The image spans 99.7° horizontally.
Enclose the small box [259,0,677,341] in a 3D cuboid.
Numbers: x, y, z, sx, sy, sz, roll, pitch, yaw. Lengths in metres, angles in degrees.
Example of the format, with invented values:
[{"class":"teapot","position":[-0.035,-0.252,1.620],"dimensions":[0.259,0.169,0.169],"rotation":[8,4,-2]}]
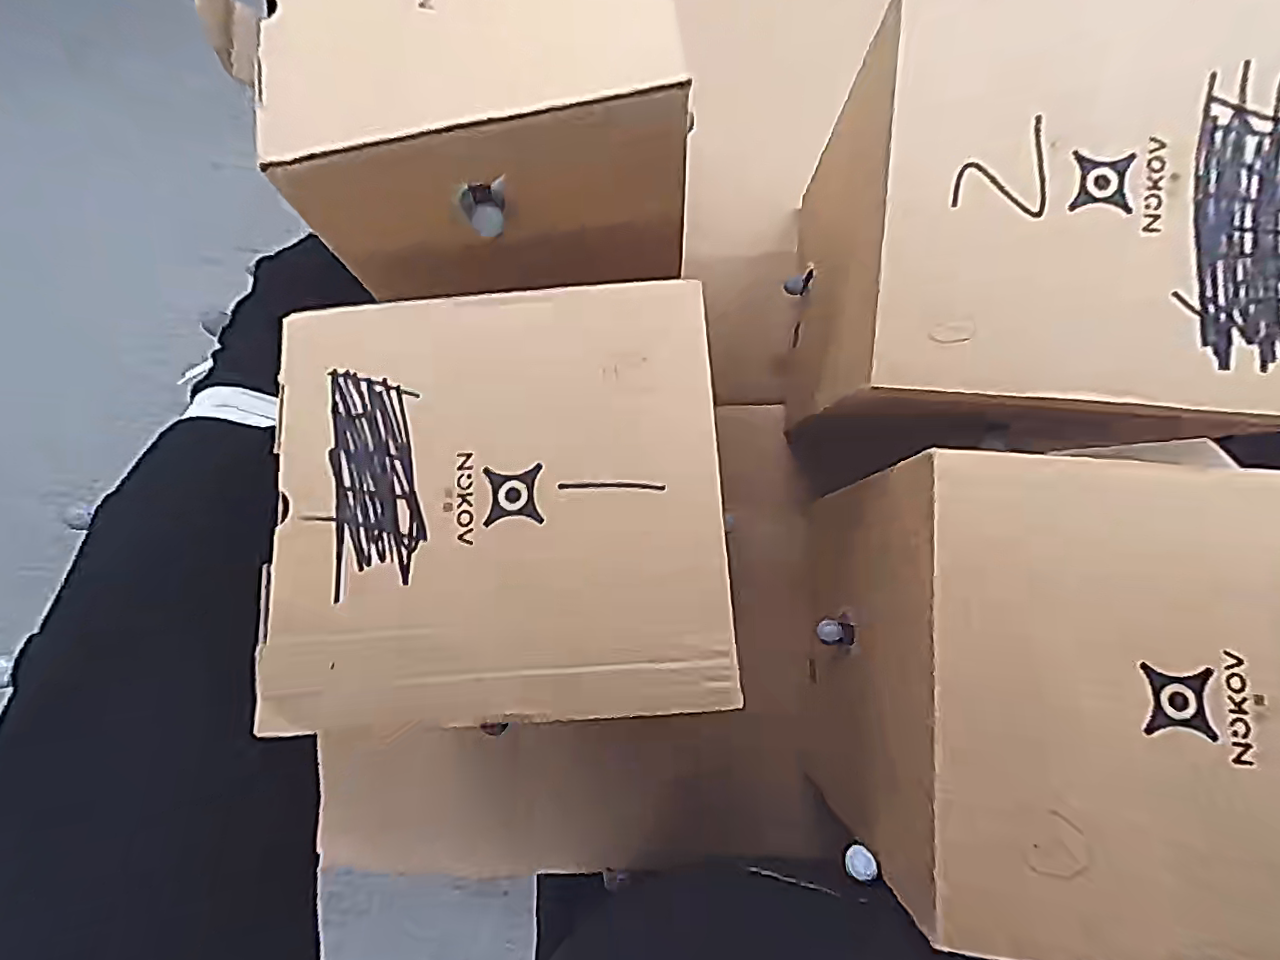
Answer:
[{"class":"small box","position":[-0.078,-0.204,0.316],"dimensions":[0.179,0.176,0.168],"rotation":[-11,76,2]}]
